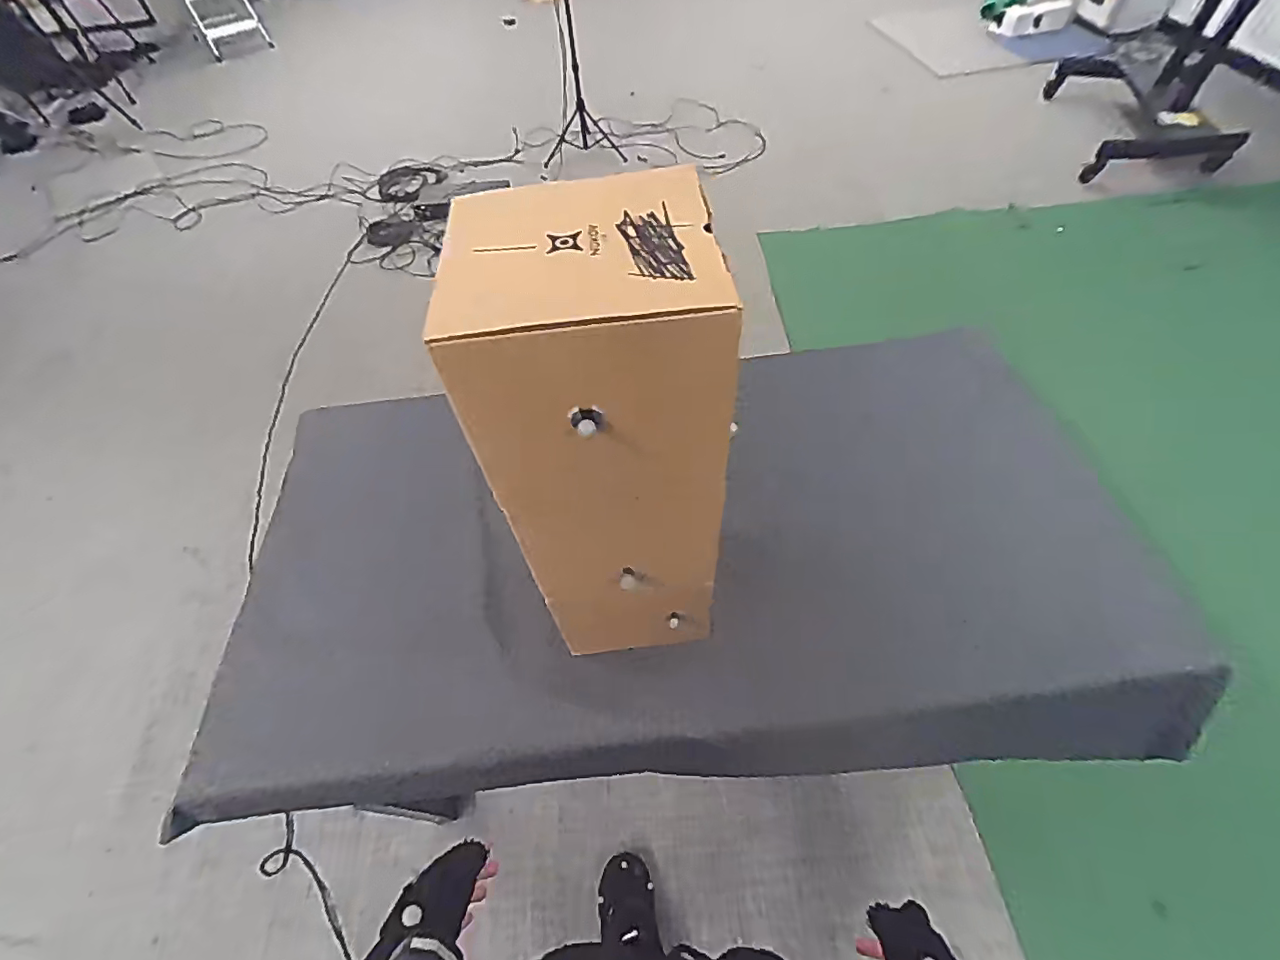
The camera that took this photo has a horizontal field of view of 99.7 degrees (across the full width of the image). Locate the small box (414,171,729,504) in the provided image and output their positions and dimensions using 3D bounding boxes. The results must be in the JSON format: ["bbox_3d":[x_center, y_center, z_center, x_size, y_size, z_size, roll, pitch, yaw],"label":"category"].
[{"bbox_3d":[-0.039,-0.099,0.405,0.179,0.176,0.168,-7,53,0],"label":"small box"}]

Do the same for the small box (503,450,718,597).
[{"bbox_3d":[-0.030,0.001,0.539,0.179,0.176,0.168,-9,55,-2],"label":"small box"}]

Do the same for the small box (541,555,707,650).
[{"bbox_3d":[-0.020,0.095,0.669,0.179,0.176,0.168,-8,53,0],"label":"small box"}]
